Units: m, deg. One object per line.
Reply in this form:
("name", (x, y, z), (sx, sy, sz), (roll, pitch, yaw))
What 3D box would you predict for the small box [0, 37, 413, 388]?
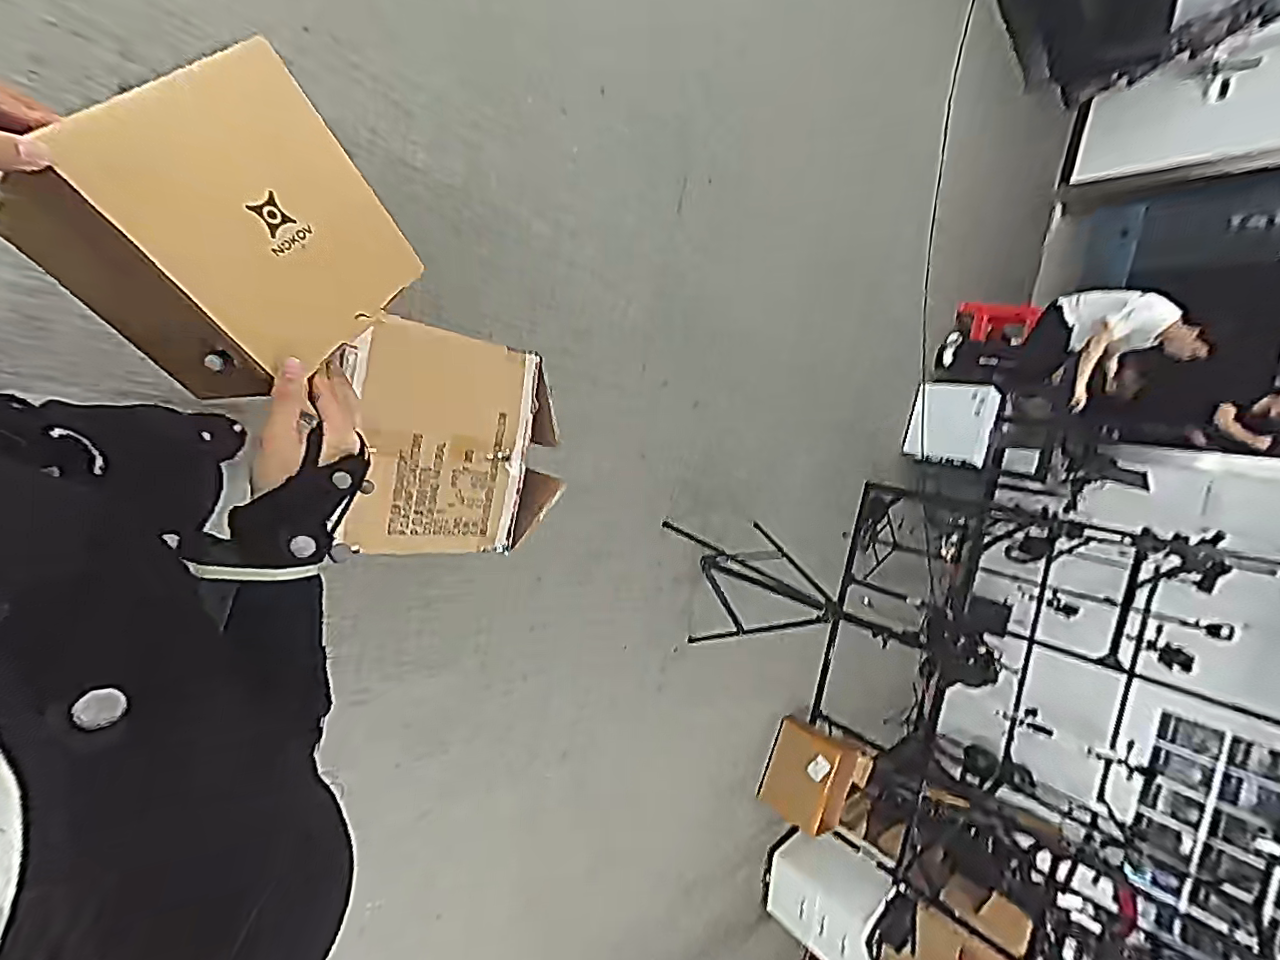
("small box", (-0.328, -0.185, 0.417), (0.168, 0.176, 0.179), (-63, 141, -32))
